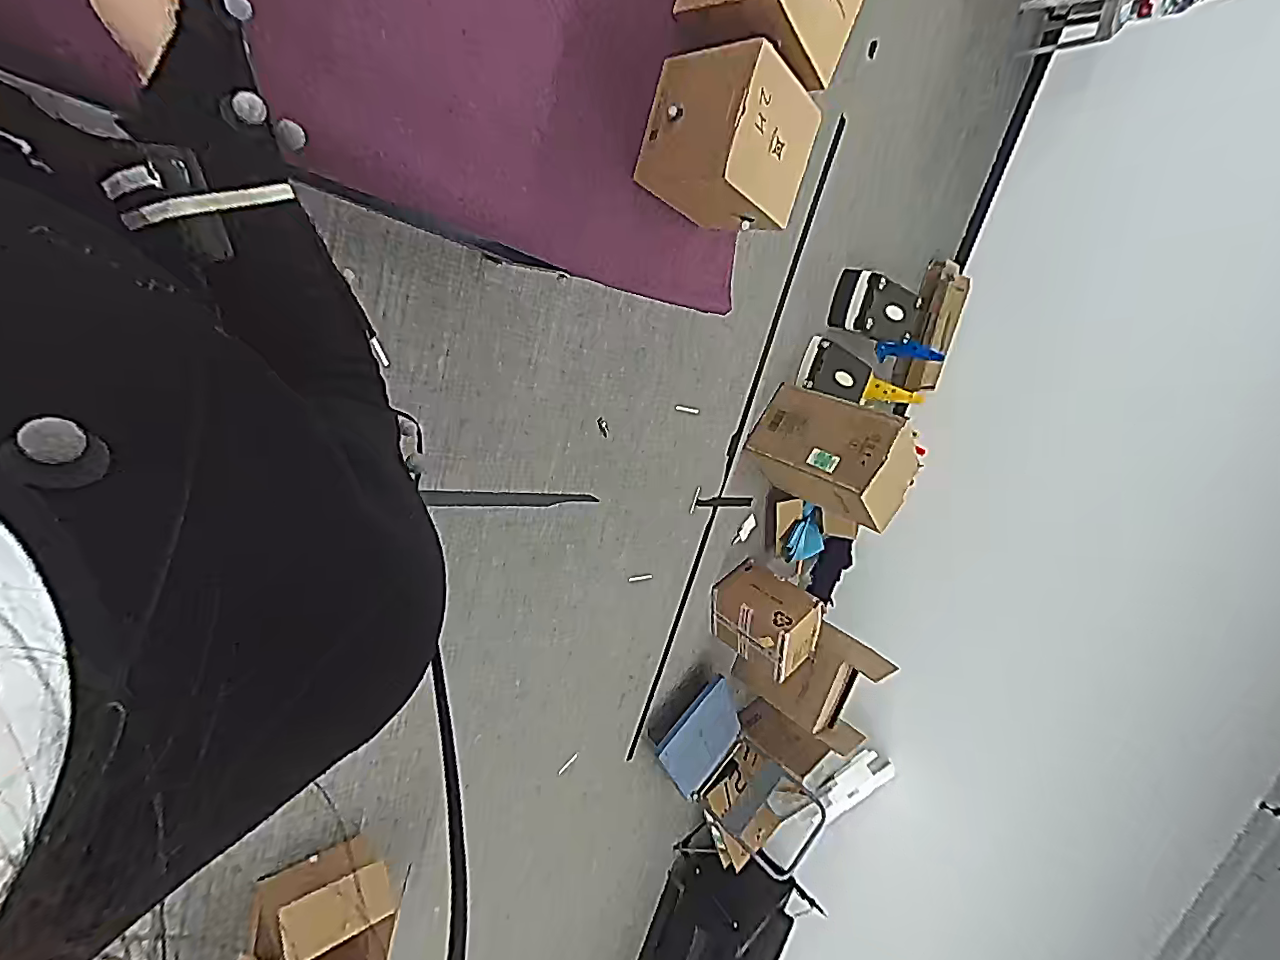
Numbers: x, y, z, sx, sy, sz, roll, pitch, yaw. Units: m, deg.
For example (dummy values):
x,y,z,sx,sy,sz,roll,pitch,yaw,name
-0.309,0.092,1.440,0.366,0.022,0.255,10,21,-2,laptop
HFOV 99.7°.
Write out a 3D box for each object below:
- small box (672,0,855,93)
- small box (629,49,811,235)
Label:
x,y,z,sx,sy,sz,roll,pitch,yaw,name
0.172,-0.666,0.746,0.179,0.176,0.168,11,105,-51,small box
0.115,-0.479,0.790,0.179,0.176,0.168,5,106,-49,small box
